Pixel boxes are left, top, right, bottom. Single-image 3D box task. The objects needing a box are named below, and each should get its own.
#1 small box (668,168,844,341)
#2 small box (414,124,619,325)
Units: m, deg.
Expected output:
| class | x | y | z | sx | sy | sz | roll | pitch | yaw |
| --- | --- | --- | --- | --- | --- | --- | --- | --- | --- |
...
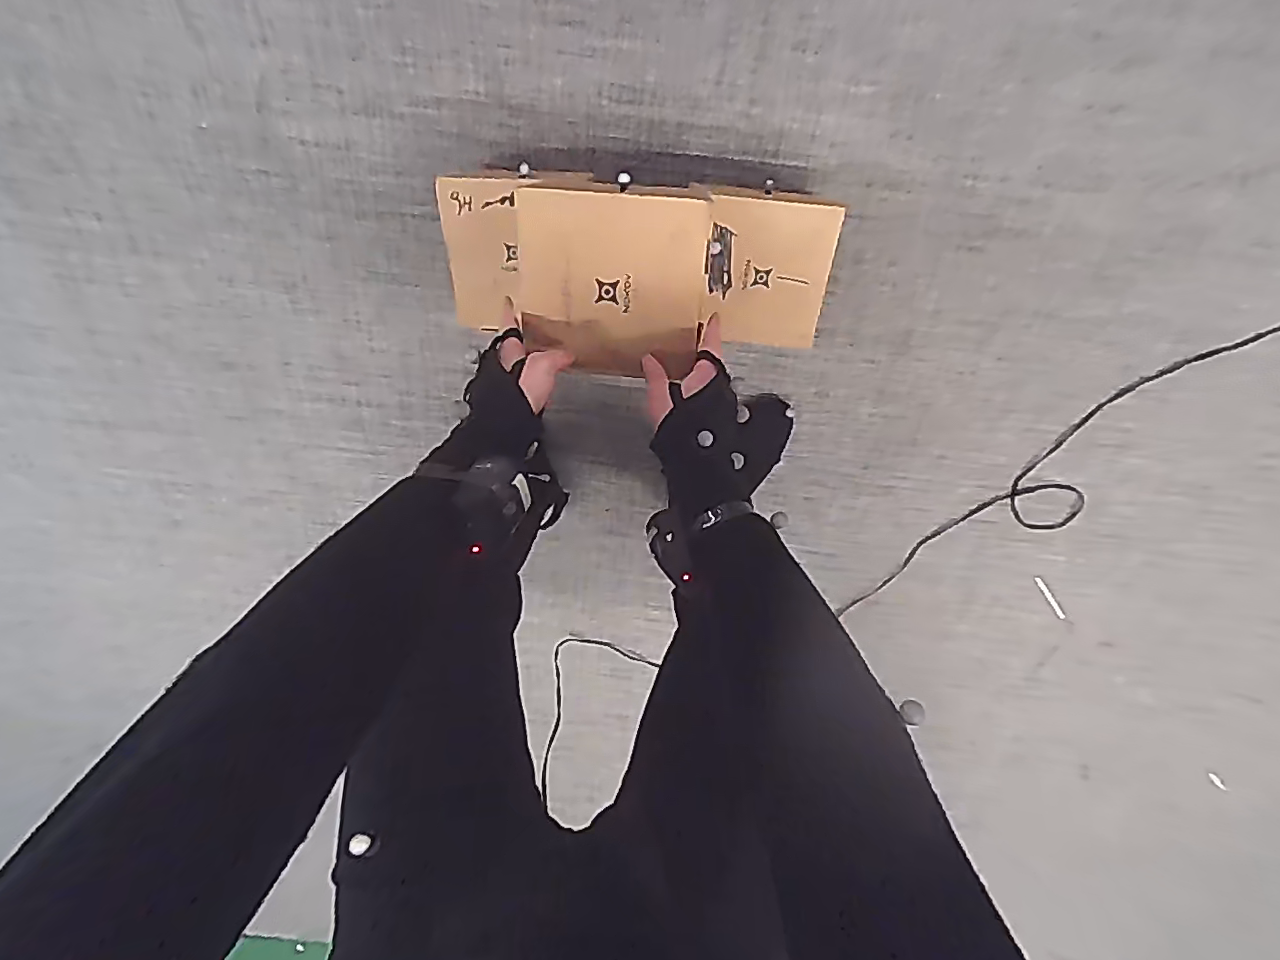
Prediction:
| class | x | y | z | sx | sy | sz | roll | pitch | yaw |
| --- | --- | --- | --- | --- | --- | --- | --- | --- | --- |
| small box | 0.139 | -0.301 | 0.710 | 0.179 | 0.176 | 0.168 | 9 | 125 | 0 |
| small box | -0.148 | -0.332 | 0.710 | 0.179 | 0.176 | 0.168 | -22 | 116 | 20 |
